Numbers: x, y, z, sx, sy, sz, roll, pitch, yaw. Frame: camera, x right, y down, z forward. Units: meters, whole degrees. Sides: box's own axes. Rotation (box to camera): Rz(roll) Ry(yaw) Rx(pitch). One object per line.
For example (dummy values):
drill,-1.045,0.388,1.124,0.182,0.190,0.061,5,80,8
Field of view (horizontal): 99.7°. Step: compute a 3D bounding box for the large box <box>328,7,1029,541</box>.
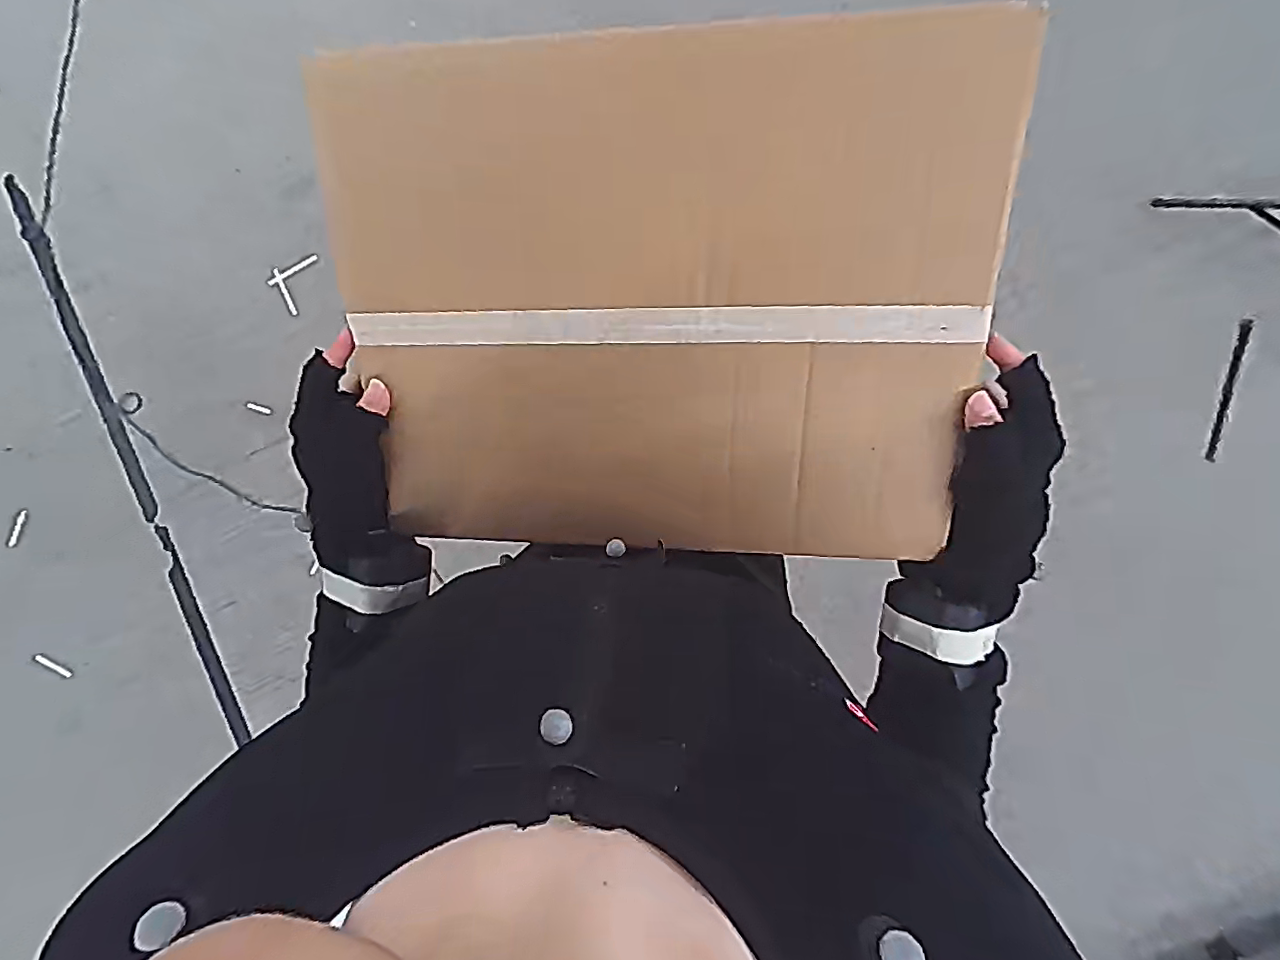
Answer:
large box,0.025,-0.154,0.491,0.408,0.320,0.320,2,111,7
